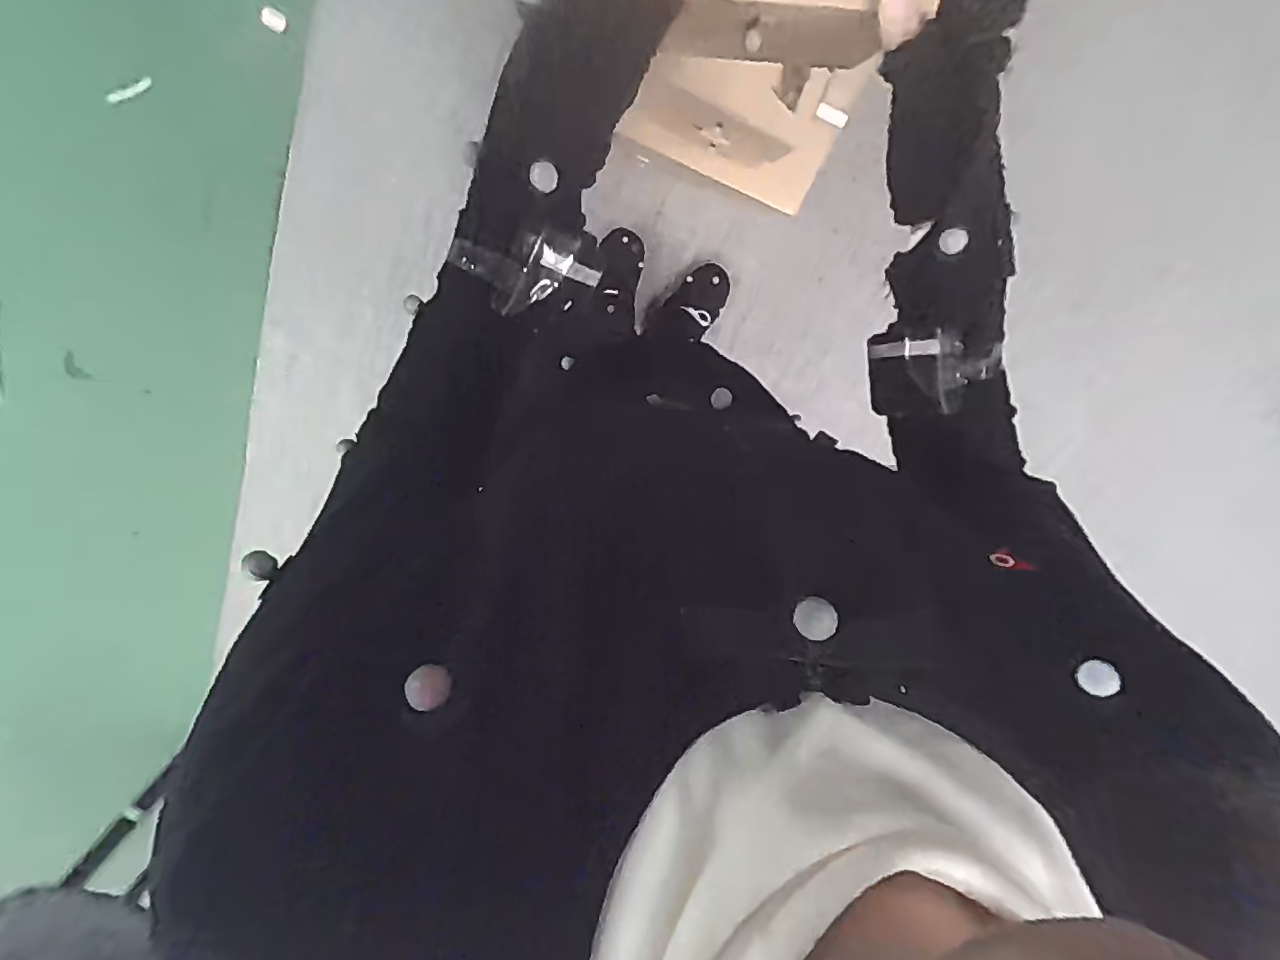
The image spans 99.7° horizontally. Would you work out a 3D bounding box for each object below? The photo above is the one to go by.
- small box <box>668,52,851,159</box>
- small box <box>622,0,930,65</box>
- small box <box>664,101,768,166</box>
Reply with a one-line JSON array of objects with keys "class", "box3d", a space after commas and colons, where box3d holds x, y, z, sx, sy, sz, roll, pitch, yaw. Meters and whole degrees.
[{"class": "small box", "box3d": [0.143, -0.511, 0.656, 0.179, 0.176, 0.168, 19, 115, -7]}, {"class": "small box", "box3d": [0.077, -0.361, 0.317, 0.179, 0.176, 0.168, 5, 121, 2]}, {"class": "small box", "box3d": [0.146, -0.590, 0.800, 0.168, 0.176, 0.179, 21, 116, -6]}]
